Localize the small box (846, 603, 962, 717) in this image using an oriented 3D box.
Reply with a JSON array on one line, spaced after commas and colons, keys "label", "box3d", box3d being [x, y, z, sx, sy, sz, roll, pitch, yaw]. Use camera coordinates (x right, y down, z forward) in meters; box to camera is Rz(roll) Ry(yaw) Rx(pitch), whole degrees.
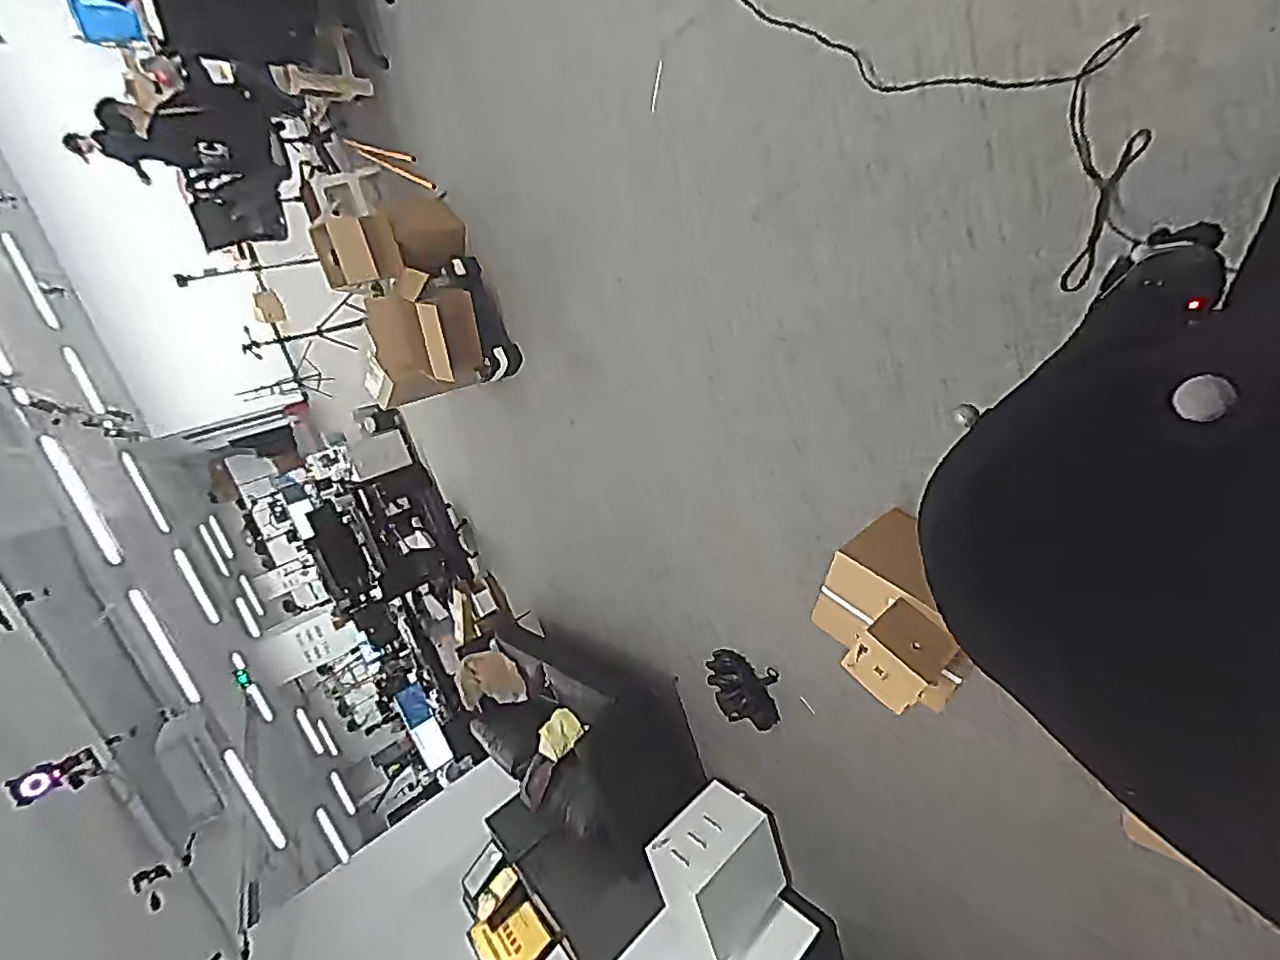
[{"label": "small box", "box3d": [0.660, 0.443, 1.351, 0.179, 0.176, 0.168, 41, 142, 34]}]
